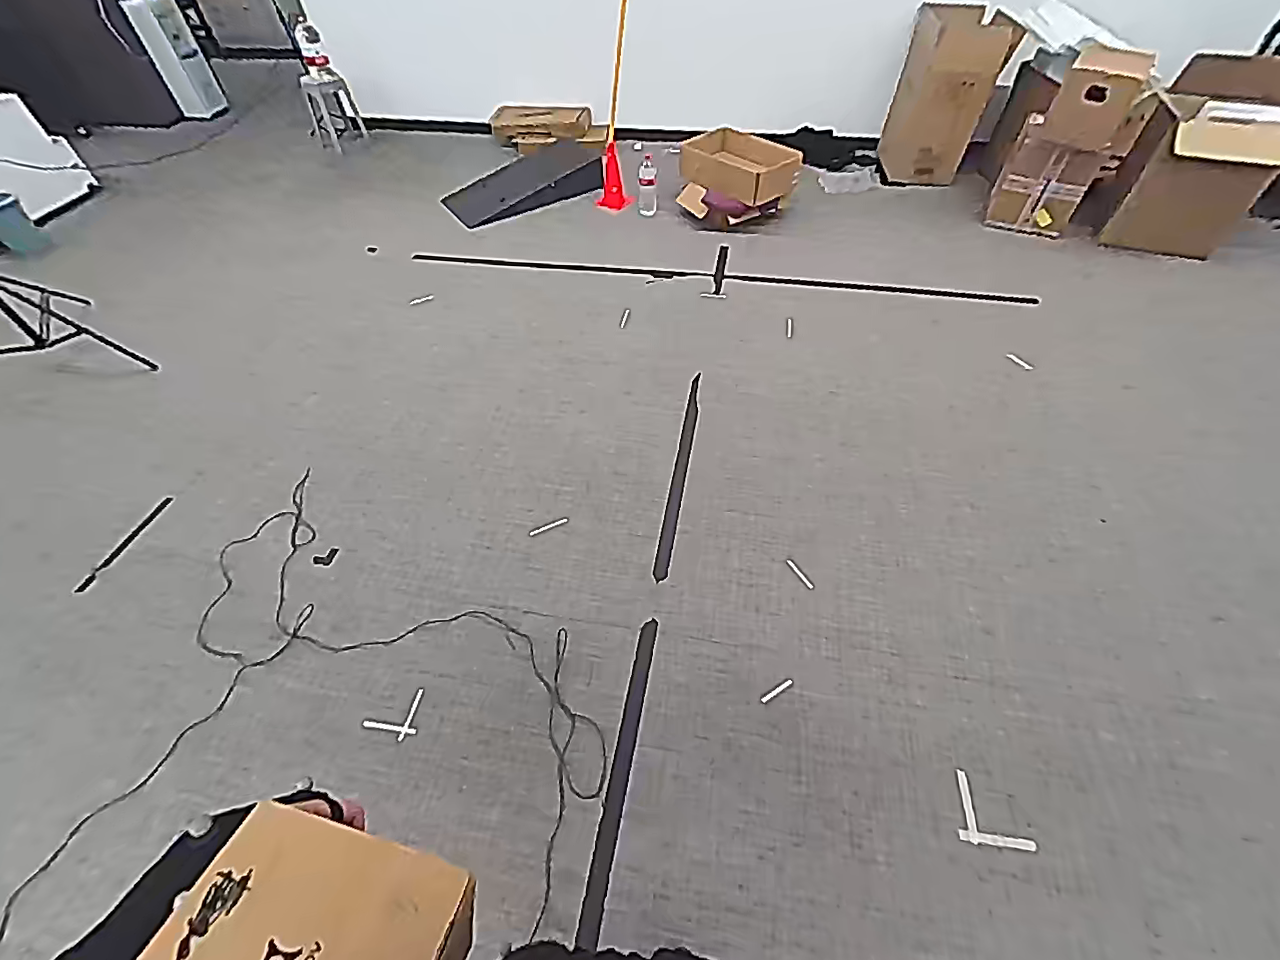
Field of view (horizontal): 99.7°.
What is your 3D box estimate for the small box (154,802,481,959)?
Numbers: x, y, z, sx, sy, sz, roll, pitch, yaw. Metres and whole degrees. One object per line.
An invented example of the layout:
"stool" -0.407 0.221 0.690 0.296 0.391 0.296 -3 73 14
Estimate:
"small box" -0.235 0.379 0.392 0.179 0.176 0.168 17 35 4
